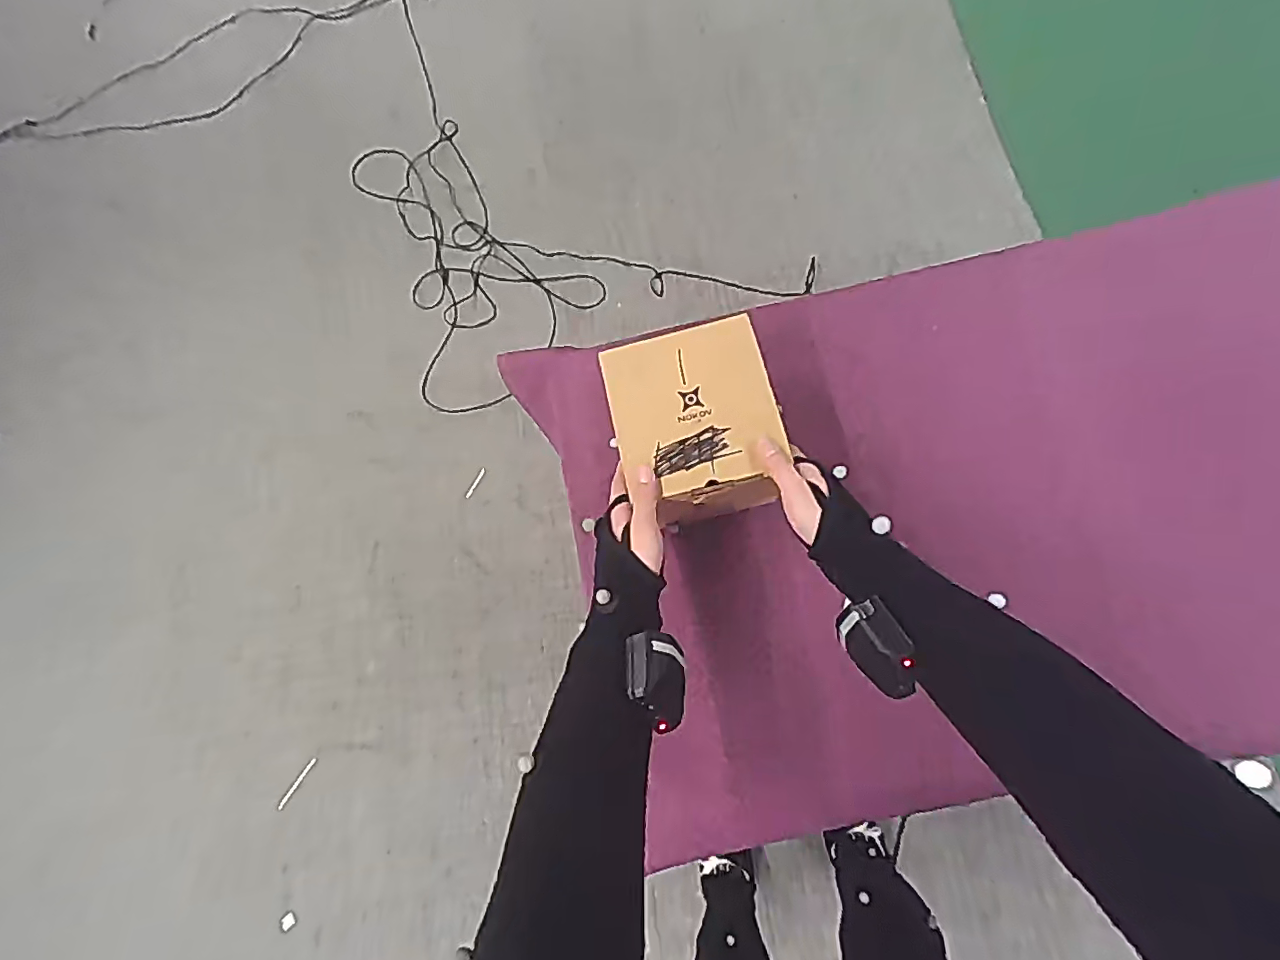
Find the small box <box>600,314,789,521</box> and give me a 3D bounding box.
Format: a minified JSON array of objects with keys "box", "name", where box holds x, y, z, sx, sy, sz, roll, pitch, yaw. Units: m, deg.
[{"box":[0.062,-0.057,0.629,0.168,0.176,0.179,-13,74,4],"name":"small box"}]
